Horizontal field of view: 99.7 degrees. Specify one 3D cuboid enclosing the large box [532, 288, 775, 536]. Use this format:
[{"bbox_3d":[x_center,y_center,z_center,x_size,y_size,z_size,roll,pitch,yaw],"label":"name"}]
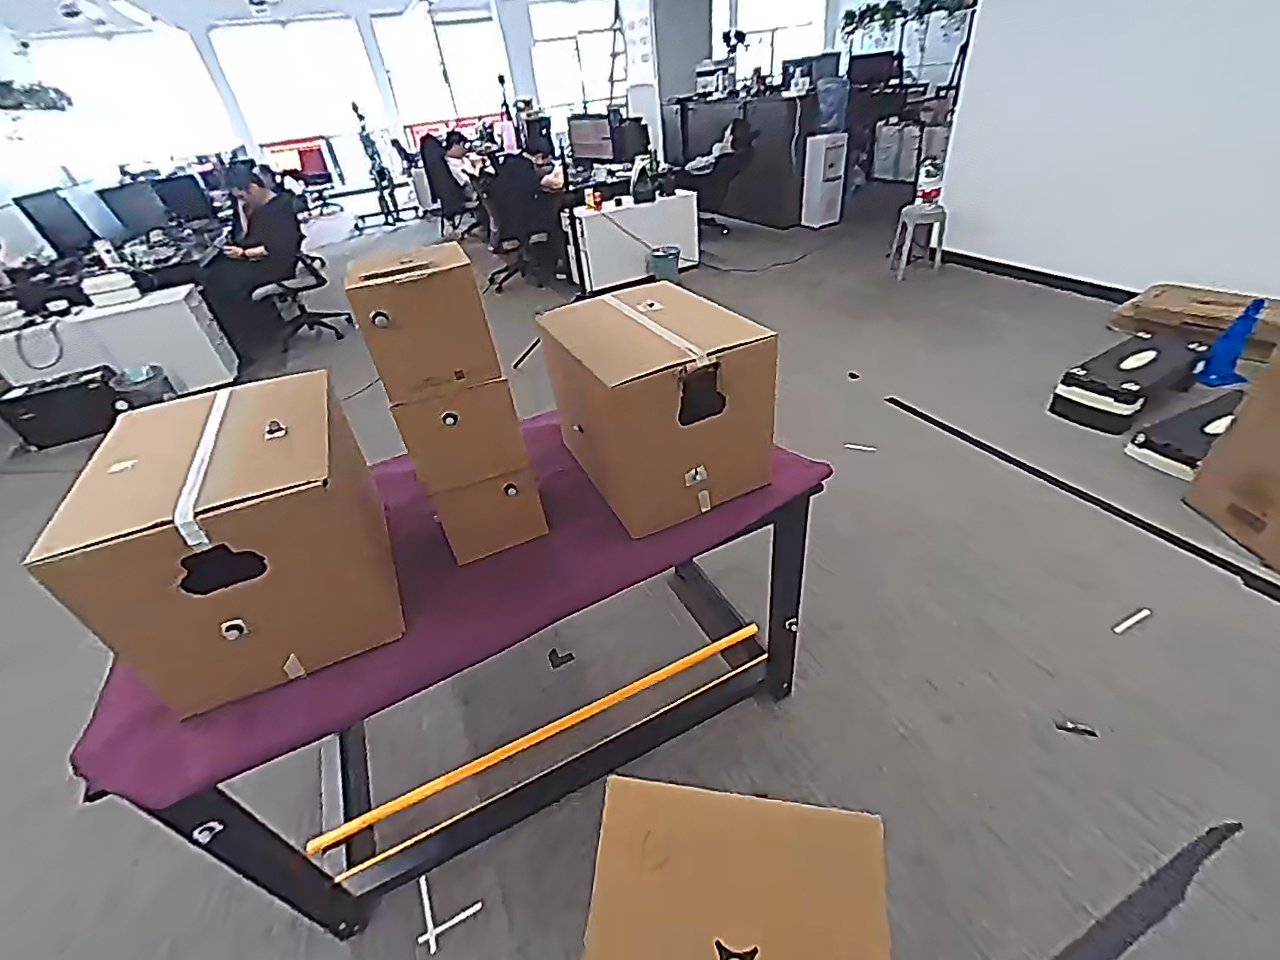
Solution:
[{"bbox_3d":[0.022,-0.156,1.081,0.320,0.320,0.408,-20,37,-18],"label":"large box"}]
